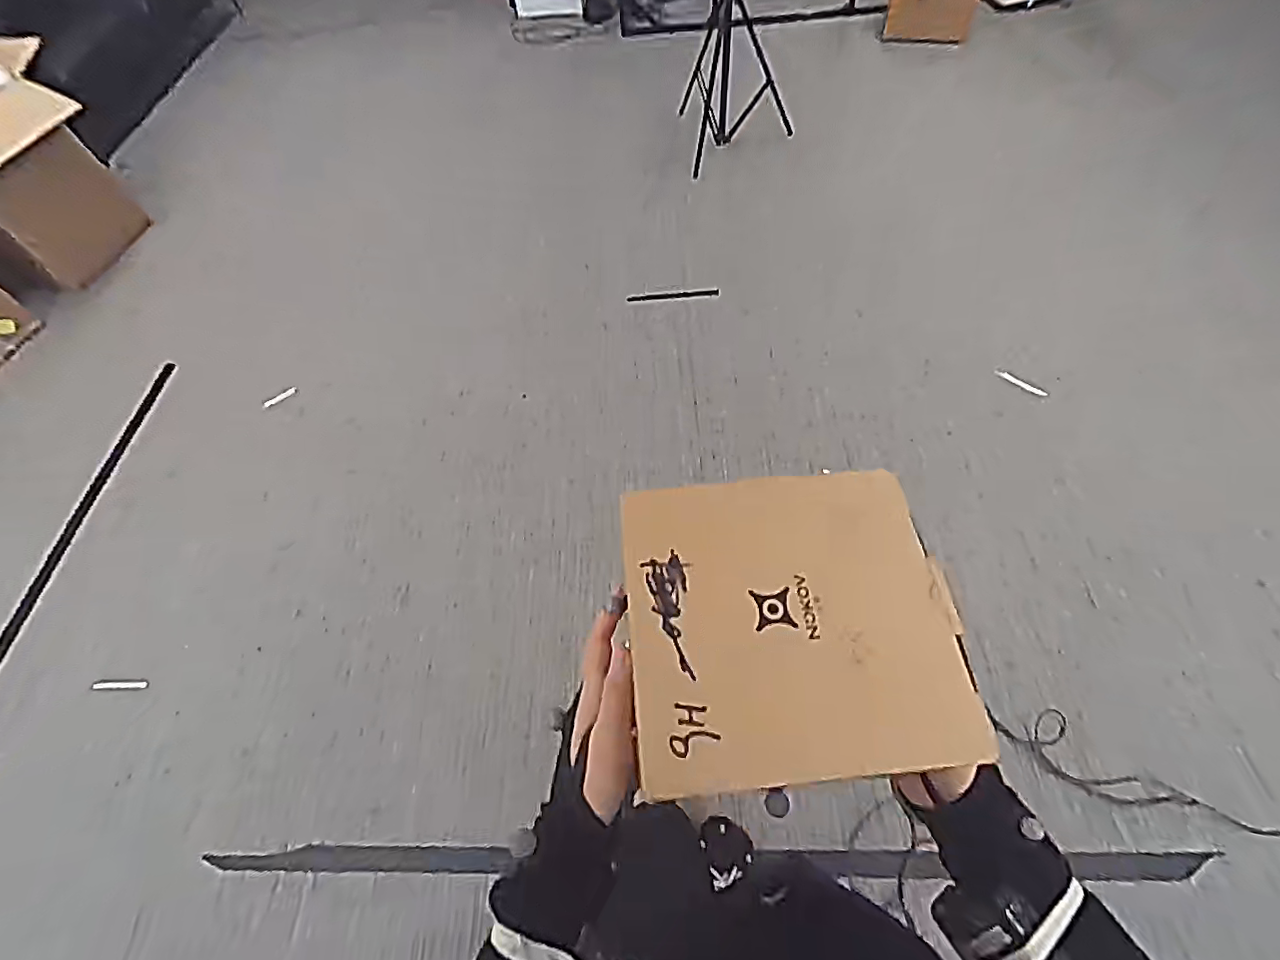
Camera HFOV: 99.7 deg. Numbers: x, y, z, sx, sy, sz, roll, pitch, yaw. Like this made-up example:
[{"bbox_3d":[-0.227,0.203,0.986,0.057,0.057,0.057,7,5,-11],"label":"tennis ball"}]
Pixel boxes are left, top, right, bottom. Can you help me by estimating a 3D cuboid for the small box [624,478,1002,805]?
[{"bbox_3d":[0.081,0.114,0.363,0.179,0.176,0.168,-4,59,-4],"label":"small box"}]
